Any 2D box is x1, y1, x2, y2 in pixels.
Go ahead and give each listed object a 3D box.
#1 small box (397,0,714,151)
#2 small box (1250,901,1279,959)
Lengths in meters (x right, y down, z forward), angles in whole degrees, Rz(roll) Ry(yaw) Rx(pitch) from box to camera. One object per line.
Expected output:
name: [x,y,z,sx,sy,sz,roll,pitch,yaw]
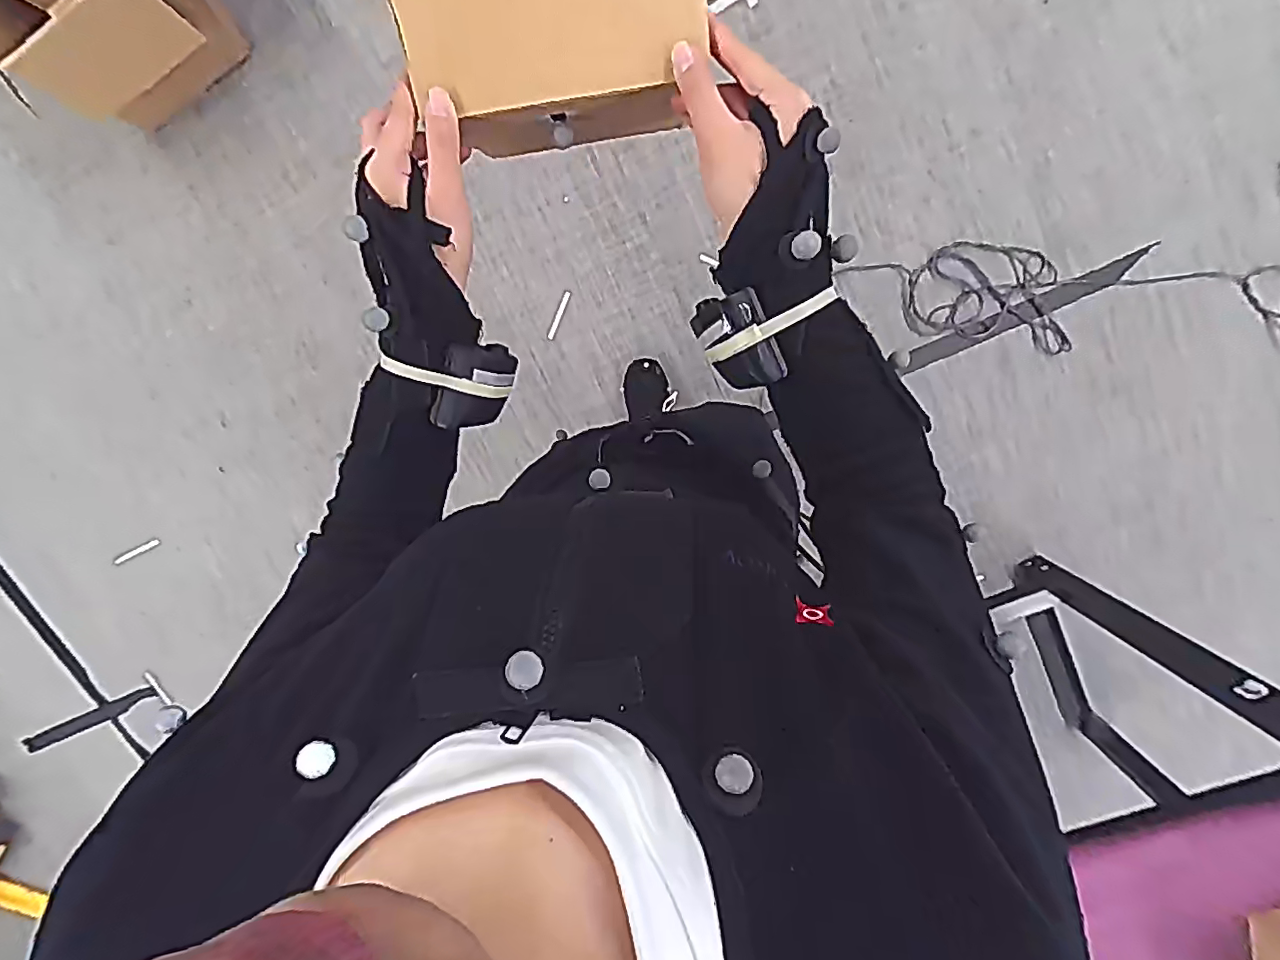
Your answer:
small box: [-0.052,-0.332,0.357,0.179,0.176,0.168,-6,114,4]
small box: [0.930,0.660,0.670,0.168,0.176,0.179,-17,101,6]
